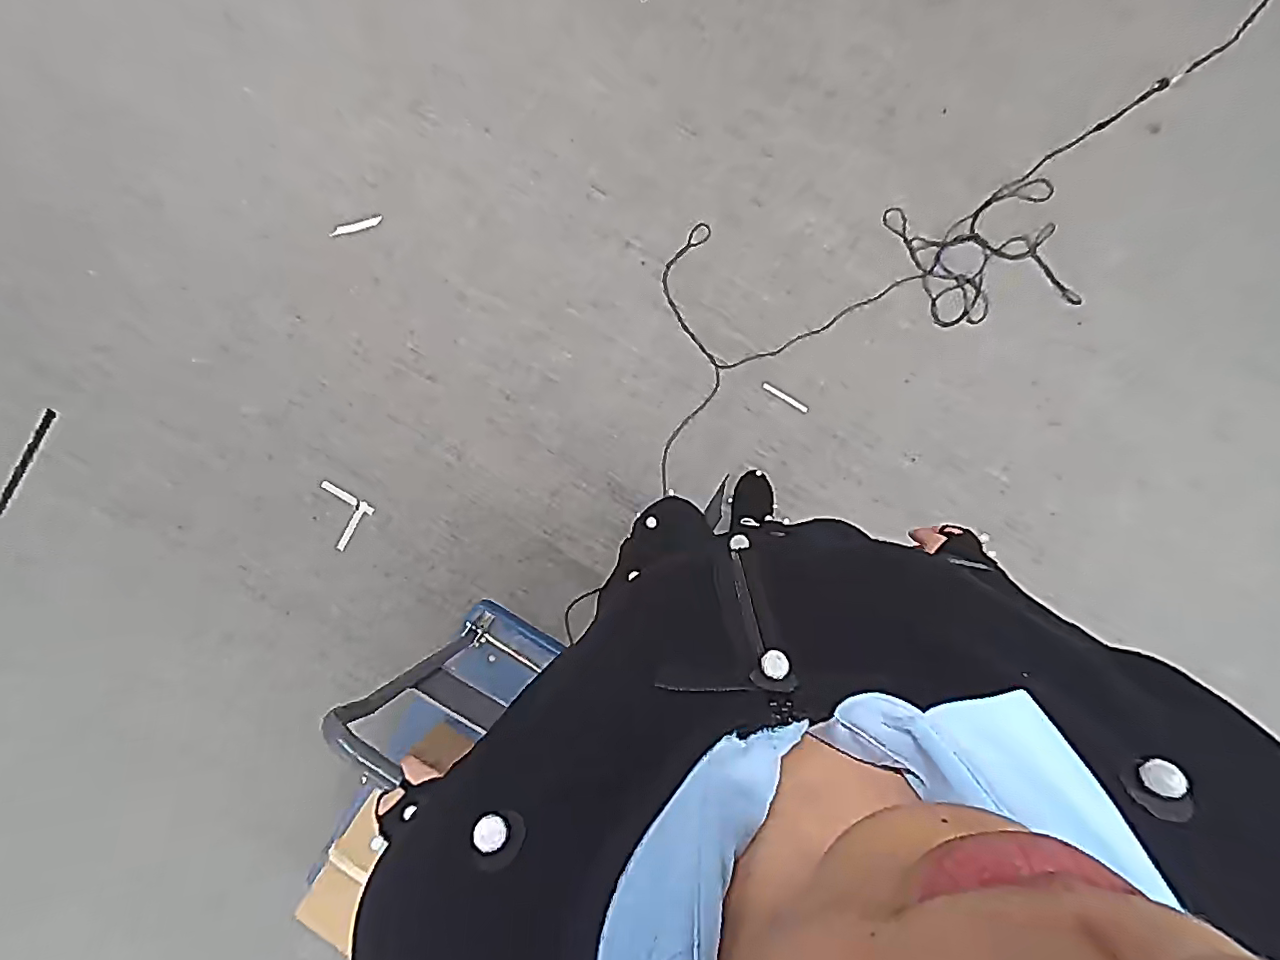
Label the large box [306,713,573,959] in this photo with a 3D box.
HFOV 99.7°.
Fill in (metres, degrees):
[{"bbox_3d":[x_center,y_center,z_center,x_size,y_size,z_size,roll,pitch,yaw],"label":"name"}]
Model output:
[{"bbox_3d":[-0.418,0.813,1.217,0.408,0.320,0.320,33,92,3],"label":"large box"}]
